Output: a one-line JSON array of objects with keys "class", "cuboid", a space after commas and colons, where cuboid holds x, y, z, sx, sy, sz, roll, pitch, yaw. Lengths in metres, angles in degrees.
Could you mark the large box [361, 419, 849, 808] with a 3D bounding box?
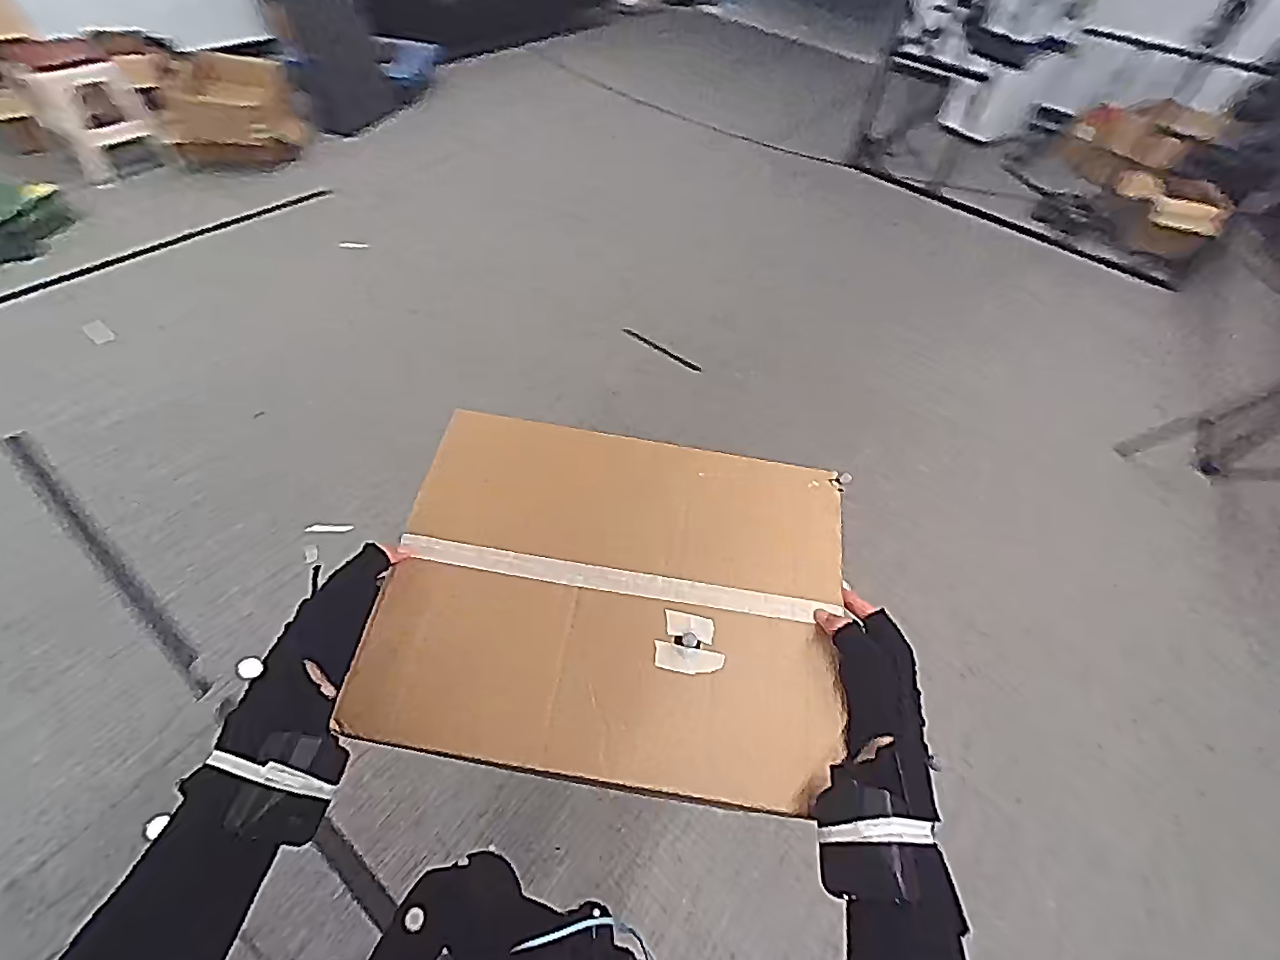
[{"class": "large box", "cuboid": [-0.020, 0.169, 0.630, 0.408, 0.320, 0.320, 11, 61, 1]}]
